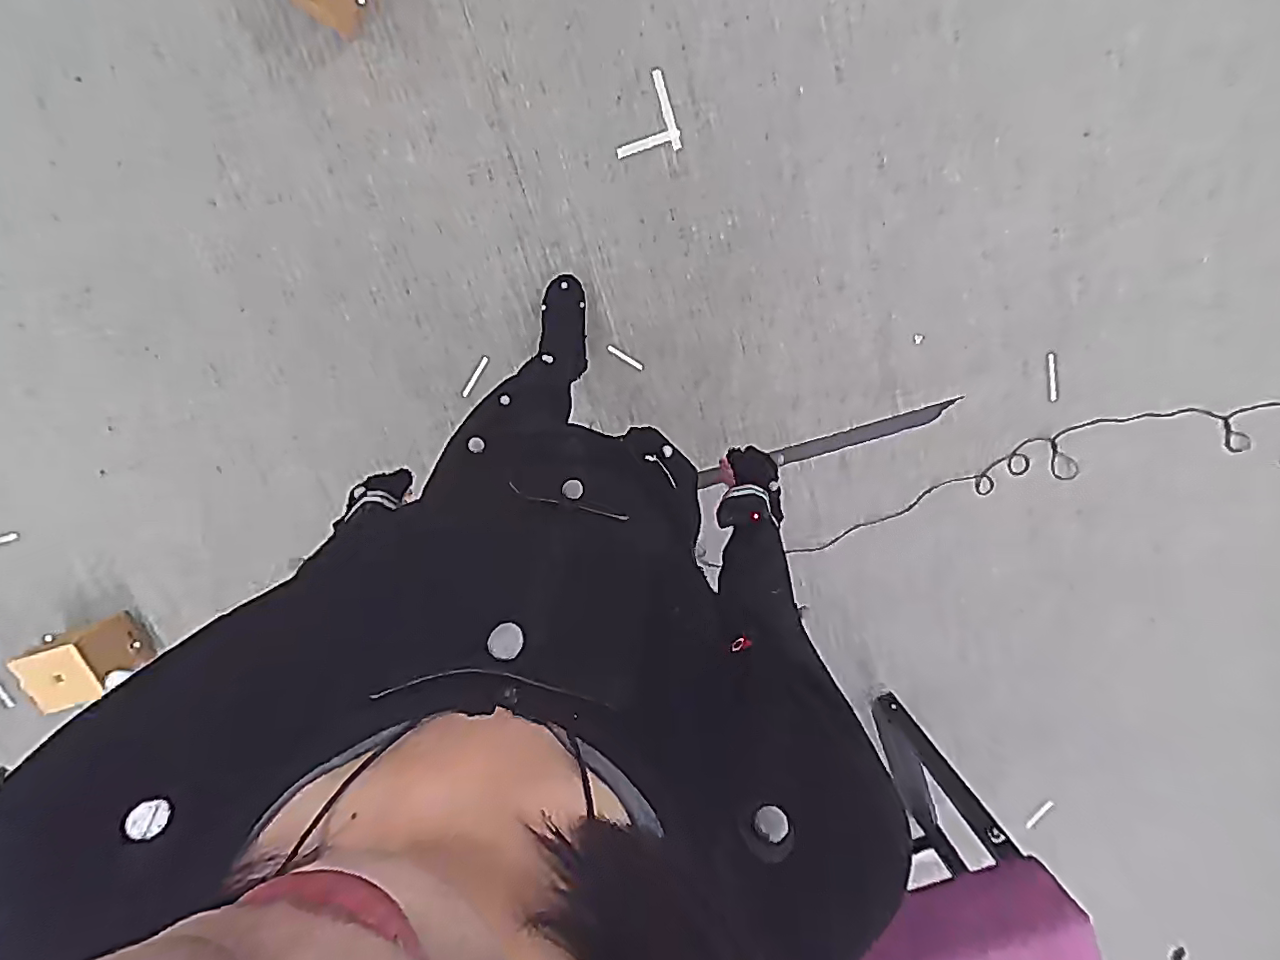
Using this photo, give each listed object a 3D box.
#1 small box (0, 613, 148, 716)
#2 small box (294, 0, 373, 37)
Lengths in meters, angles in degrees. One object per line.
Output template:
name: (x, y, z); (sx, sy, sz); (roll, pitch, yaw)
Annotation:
small box: (-1.484, 0.482, 1.431); (0.179, 0.176, 0.168); (-17, 107, -1)
small box: (-0.661, -1.061, 1.093); (0.179, 0.176, 0.168); (32, 100, -13)
